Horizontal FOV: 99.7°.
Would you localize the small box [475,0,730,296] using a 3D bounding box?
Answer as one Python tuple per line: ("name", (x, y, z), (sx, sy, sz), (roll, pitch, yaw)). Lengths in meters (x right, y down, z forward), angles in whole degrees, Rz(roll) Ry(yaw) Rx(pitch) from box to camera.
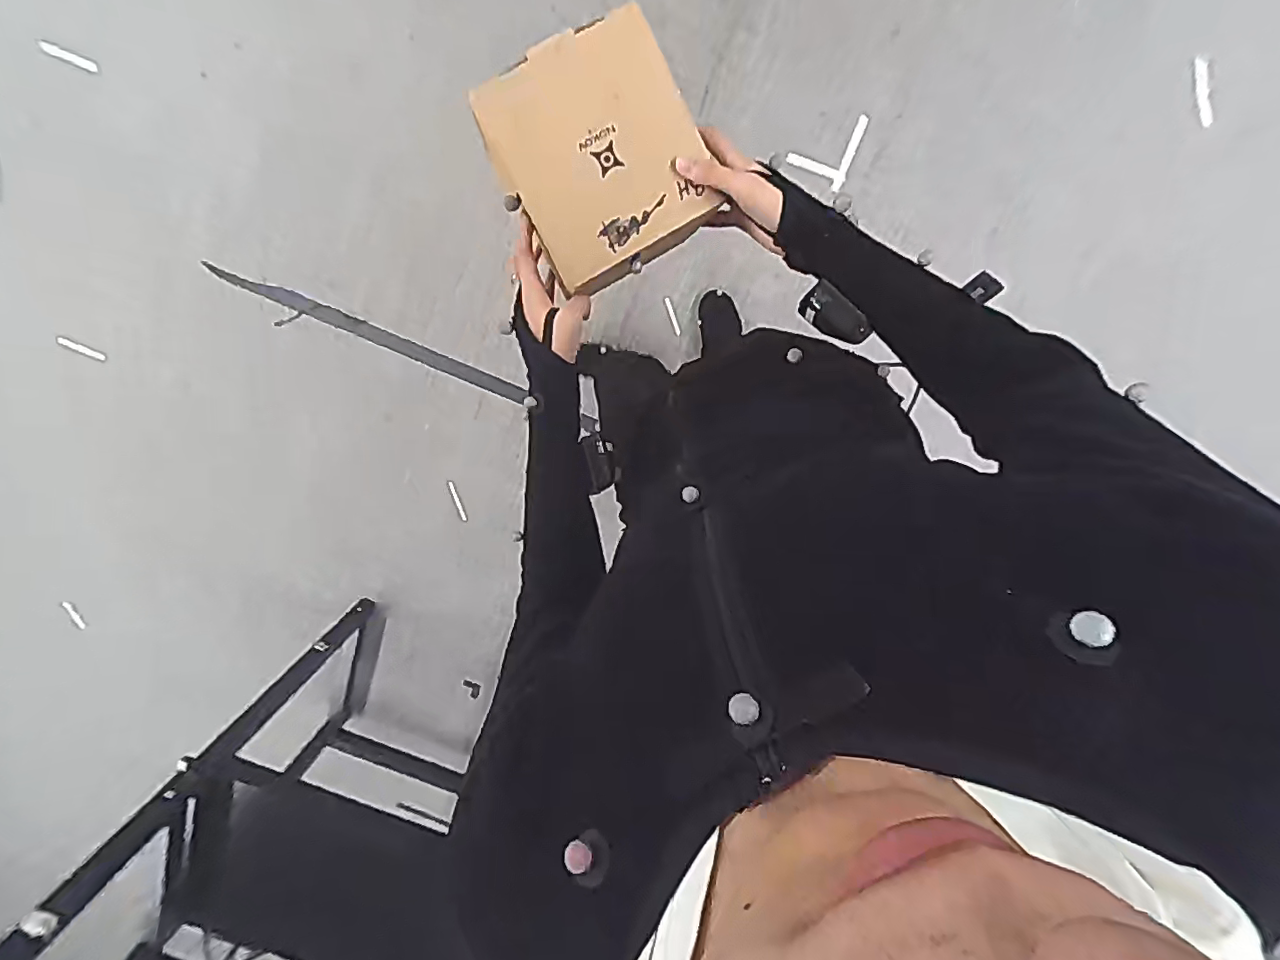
("small box", (-0.040, -0.307, 0.540), (0.168, 0.176, 0.179), (-29, 104, -2))
